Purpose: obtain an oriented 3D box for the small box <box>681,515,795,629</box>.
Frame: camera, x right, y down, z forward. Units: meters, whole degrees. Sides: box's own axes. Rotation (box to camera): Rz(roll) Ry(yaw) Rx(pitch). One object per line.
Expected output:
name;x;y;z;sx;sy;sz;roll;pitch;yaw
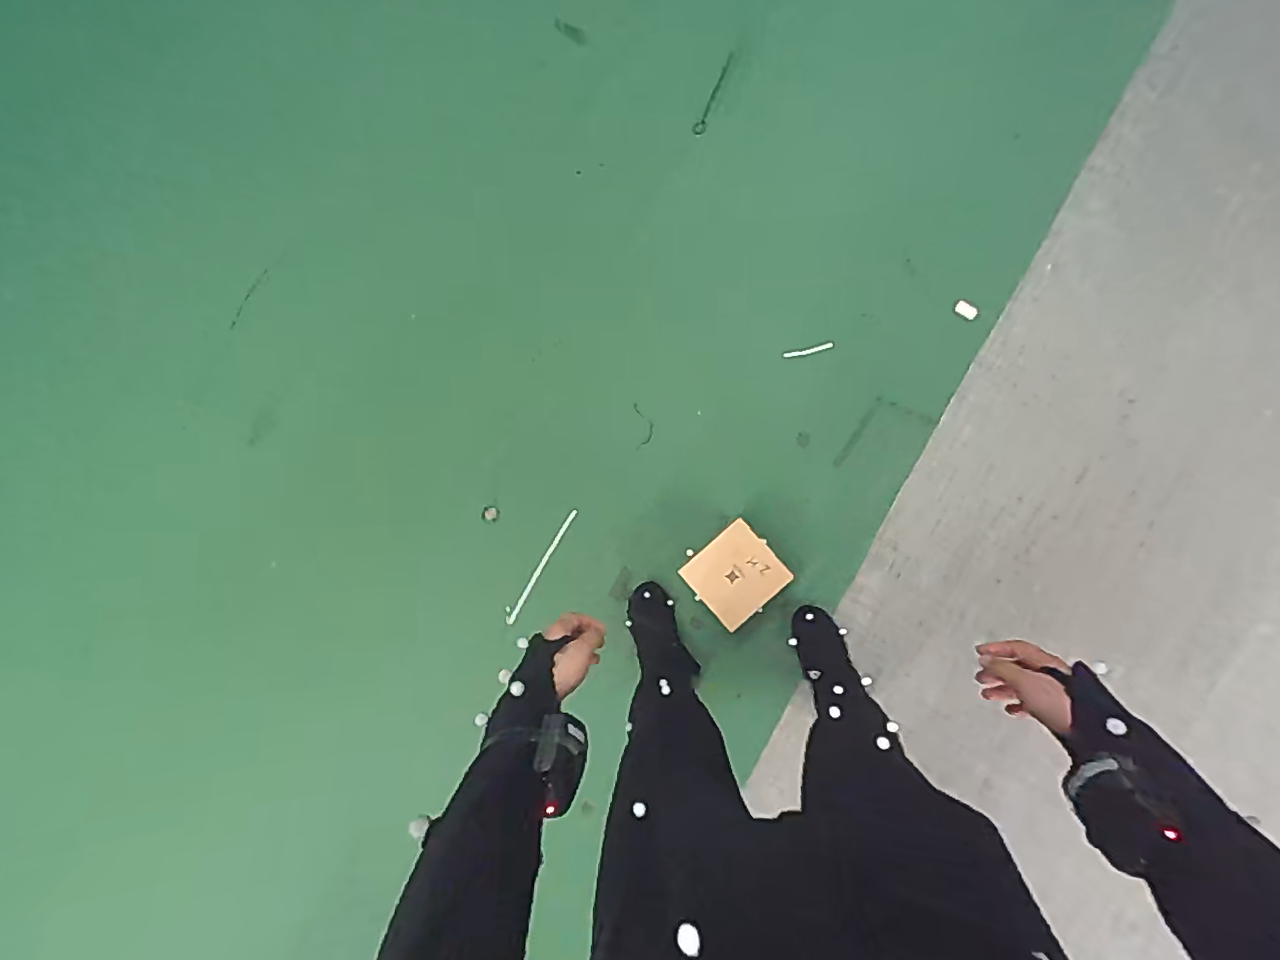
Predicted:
small box;0.207;0.195;1.180;0.179;0.176;0.168;-41;84;0
